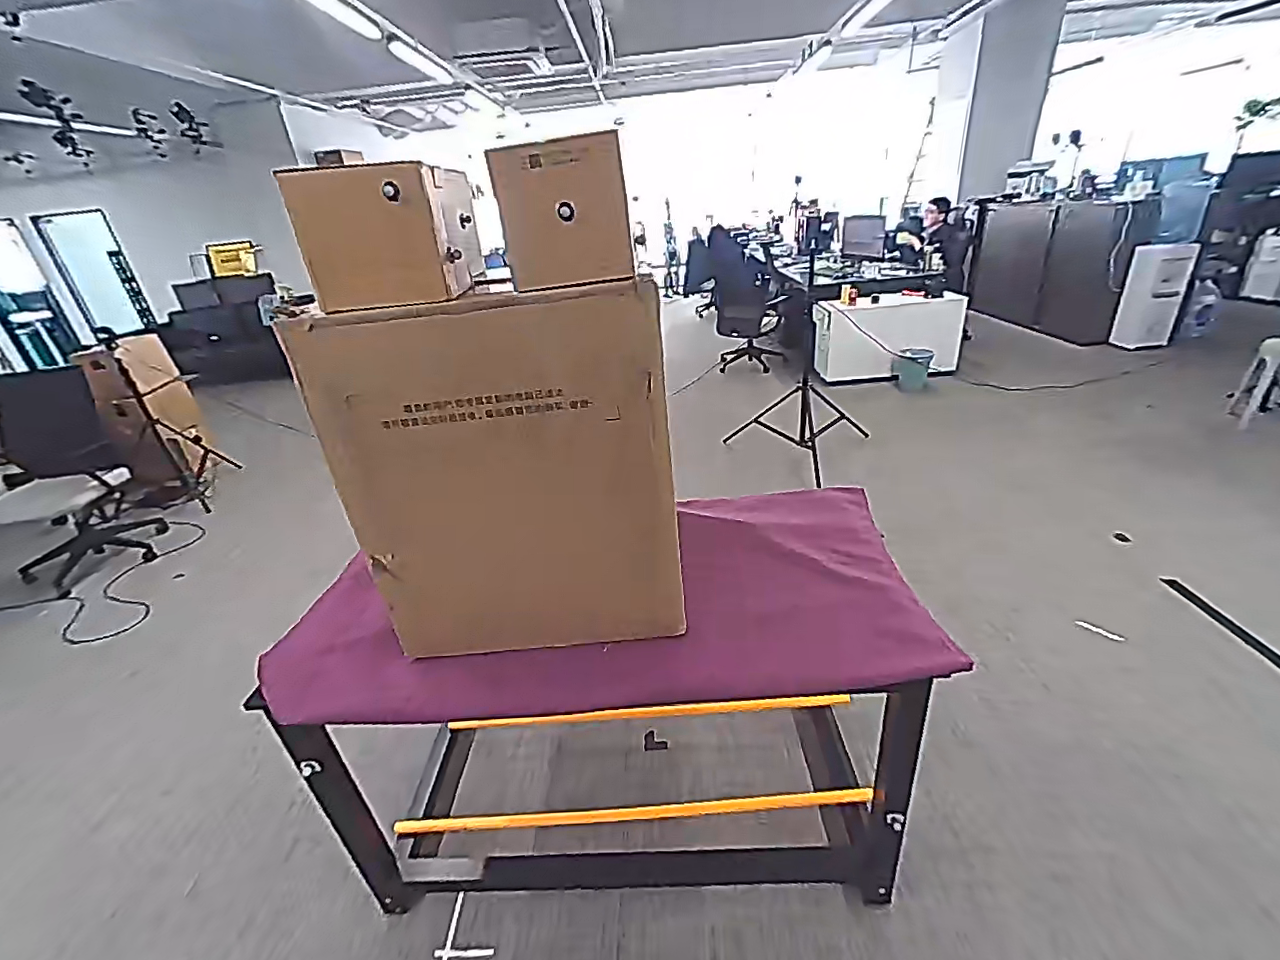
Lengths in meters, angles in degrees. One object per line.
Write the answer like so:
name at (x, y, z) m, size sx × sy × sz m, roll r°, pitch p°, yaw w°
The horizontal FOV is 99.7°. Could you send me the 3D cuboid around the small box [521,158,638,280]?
small box at (-0.095, -0.453, 0.948) m, size 0.168 × 0.176 × 0.179 m, roll -6°, pitch 27°, yaw 4°
